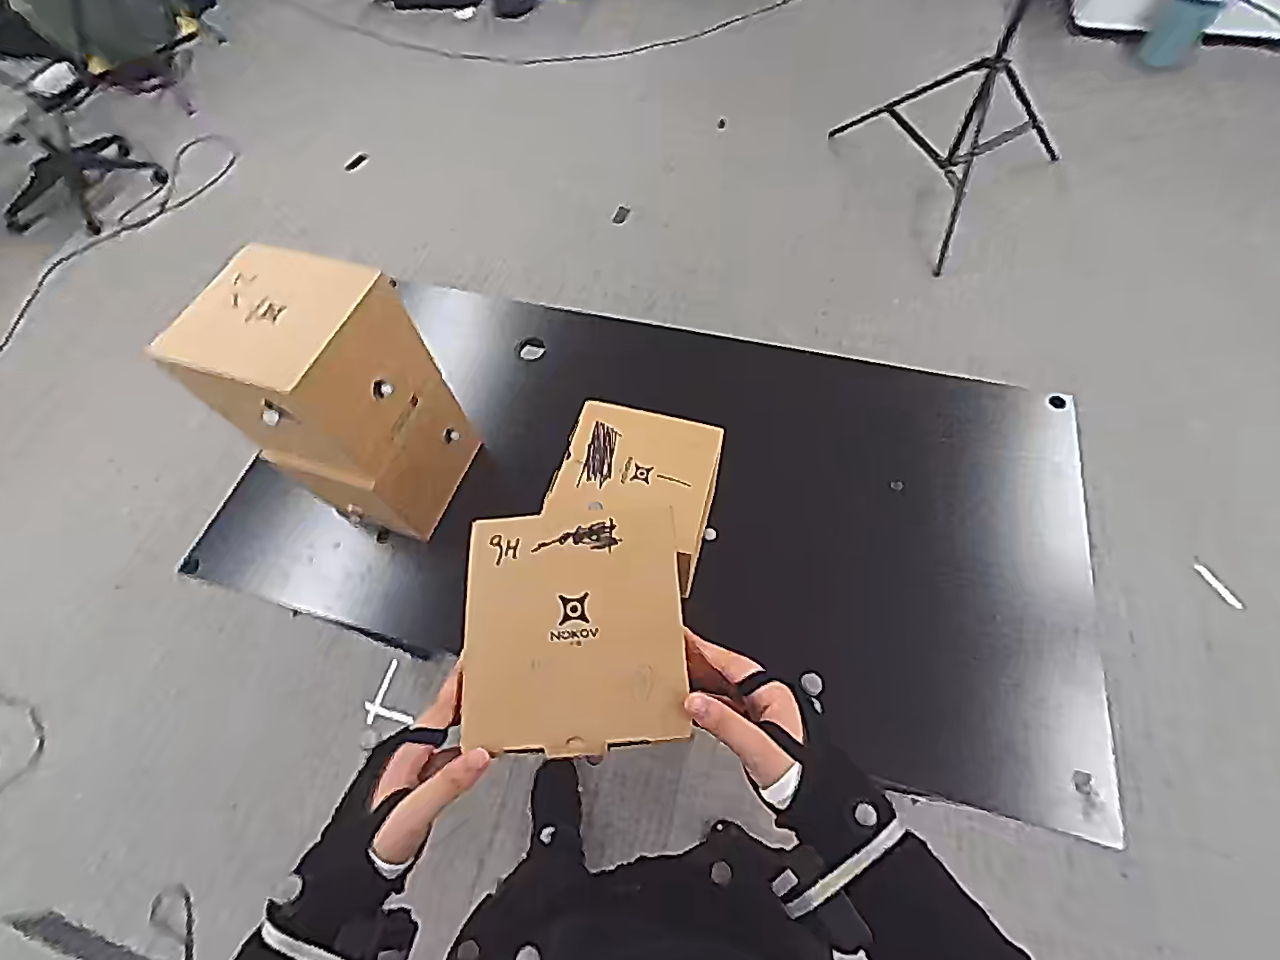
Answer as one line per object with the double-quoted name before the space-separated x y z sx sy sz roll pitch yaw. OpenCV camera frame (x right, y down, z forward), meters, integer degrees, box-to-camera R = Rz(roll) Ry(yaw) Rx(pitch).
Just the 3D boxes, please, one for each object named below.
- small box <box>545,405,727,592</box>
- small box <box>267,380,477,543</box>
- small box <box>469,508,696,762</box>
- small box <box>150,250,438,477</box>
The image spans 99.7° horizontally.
"small box" 0.002 0.032 0.690 0.179 0.176 0.168 13 64 9
"small box" -0.349 -0.037 0.749 0.168 0.176 0.179 14 65 12
"small box" -0.039 0.138 0.481 0.168 0.176 0.179 -6 68 3
"small box" -0.360 -0.121 0.607 0.179 0.176 0.168 14 63 12
